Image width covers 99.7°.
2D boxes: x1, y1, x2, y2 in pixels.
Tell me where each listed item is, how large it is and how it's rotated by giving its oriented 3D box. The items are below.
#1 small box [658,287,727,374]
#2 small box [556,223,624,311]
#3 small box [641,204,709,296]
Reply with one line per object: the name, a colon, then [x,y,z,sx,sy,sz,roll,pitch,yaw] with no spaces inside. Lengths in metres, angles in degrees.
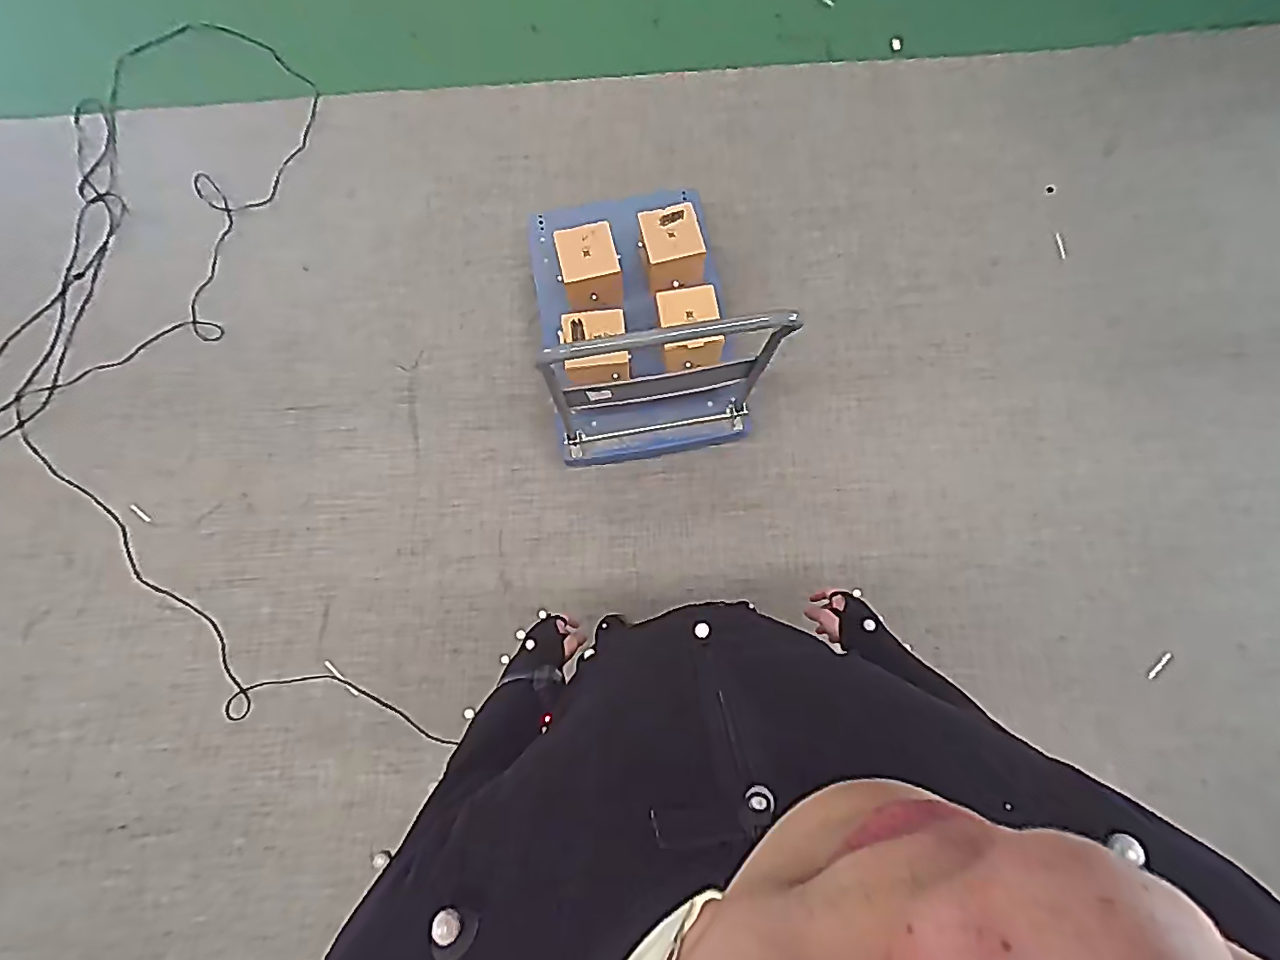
small box: [0.146,-0.429,1.570,0.168,0.176,0.179,-9,77,-1]
small box: [-0.145,-0.629,1.622,0.168,0.176,0.179,-13,77,-3]
small box: [0.100,-0.688,1.631,0.168,0.176,0.179,-13,78,-1]
